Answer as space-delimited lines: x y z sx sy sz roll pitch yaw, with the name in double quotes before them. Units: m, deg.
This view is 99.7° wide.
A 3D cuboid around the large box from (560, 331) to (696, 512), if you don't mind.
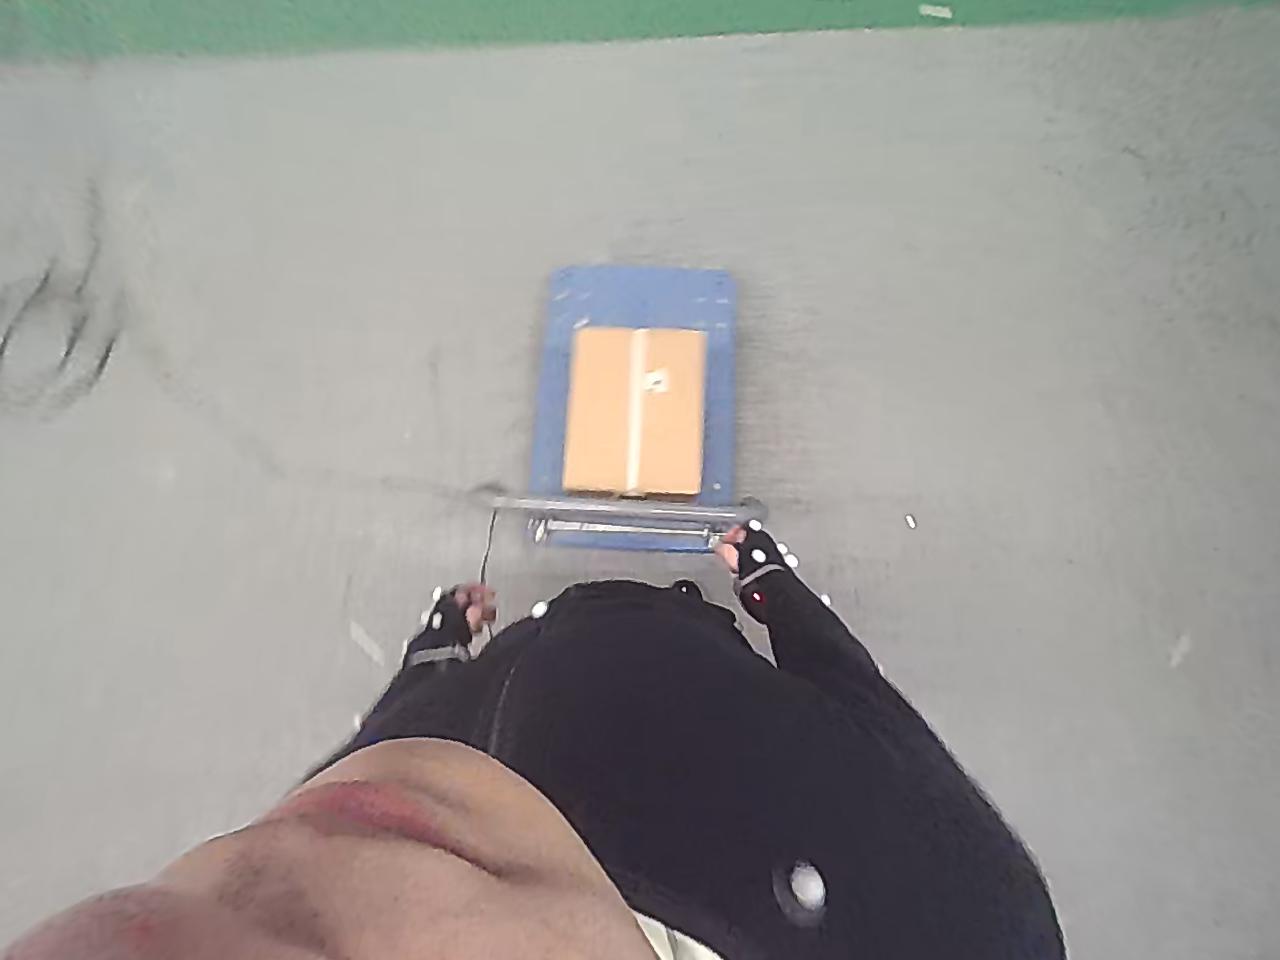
"large box" -0.022 -0.134 1.419 0.320 0.320 0.408 2 77 1
